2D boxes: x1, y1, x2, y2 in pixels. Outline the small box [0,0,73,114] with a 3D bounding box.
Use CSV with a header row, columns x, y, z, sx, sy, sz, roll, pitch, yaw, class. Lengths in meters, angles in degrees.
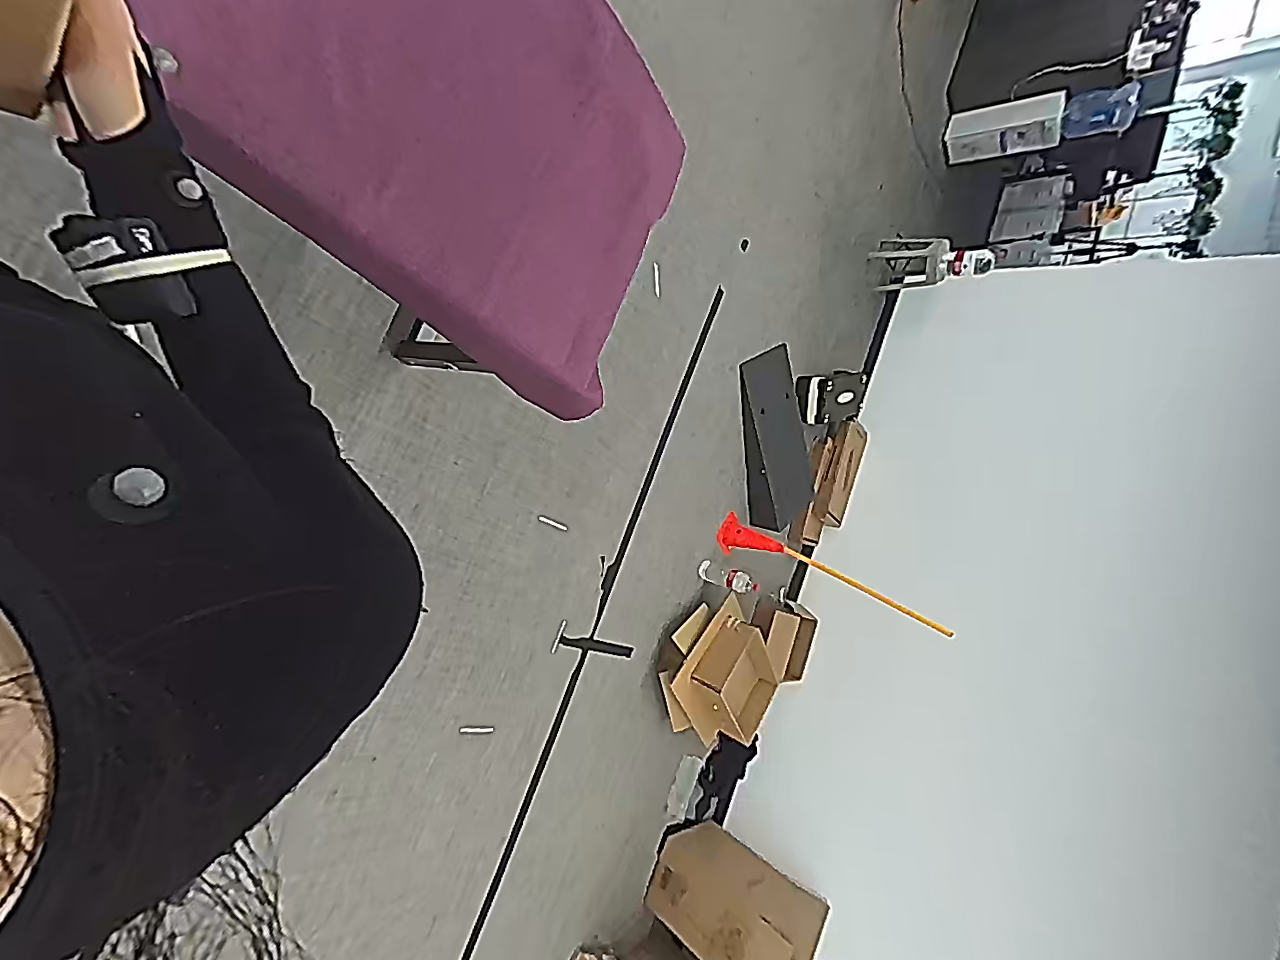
x,y,z,sx,sy,sz,roll,pitch,yaw,class
-0.363,-0.298,0.223,0.168,0.176,0.179,-6,97,-52,small box
